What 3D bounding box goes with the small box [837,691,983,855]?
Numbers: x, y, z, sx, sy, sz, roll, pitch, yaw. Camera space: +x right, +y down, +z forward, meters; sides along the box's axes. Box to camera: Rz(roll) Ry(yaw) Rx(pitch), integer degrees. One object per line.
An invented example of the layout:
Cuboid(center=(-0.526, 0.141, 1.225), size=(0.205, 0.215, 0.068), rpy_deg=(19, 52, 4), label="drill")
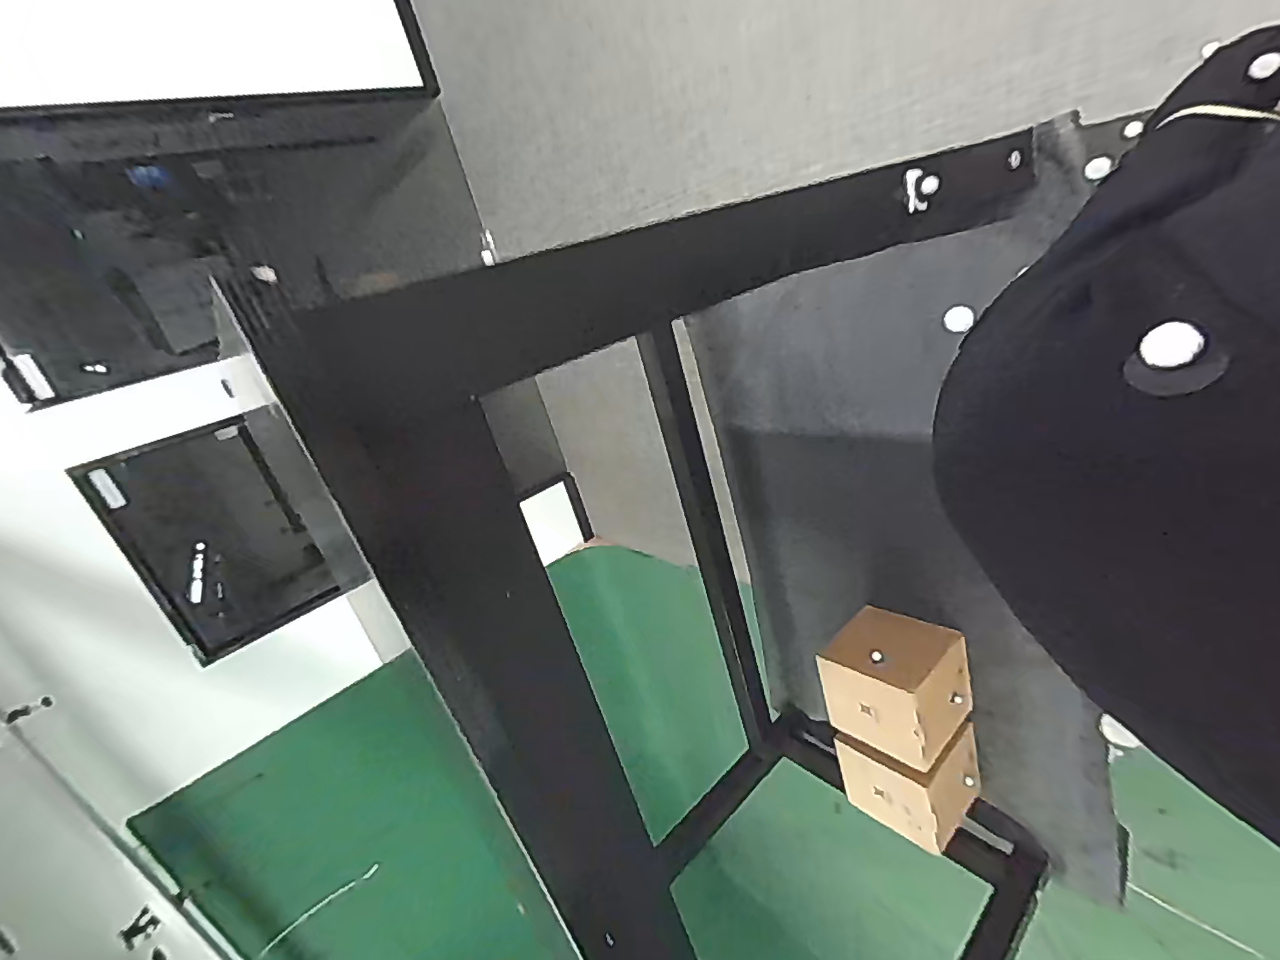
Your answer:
Cuboid(center=(0.499, 0.523, 0.998), size=(0.179, 0.176, 0.168), rpy_deg=(8, 121, 53), label="small box")
